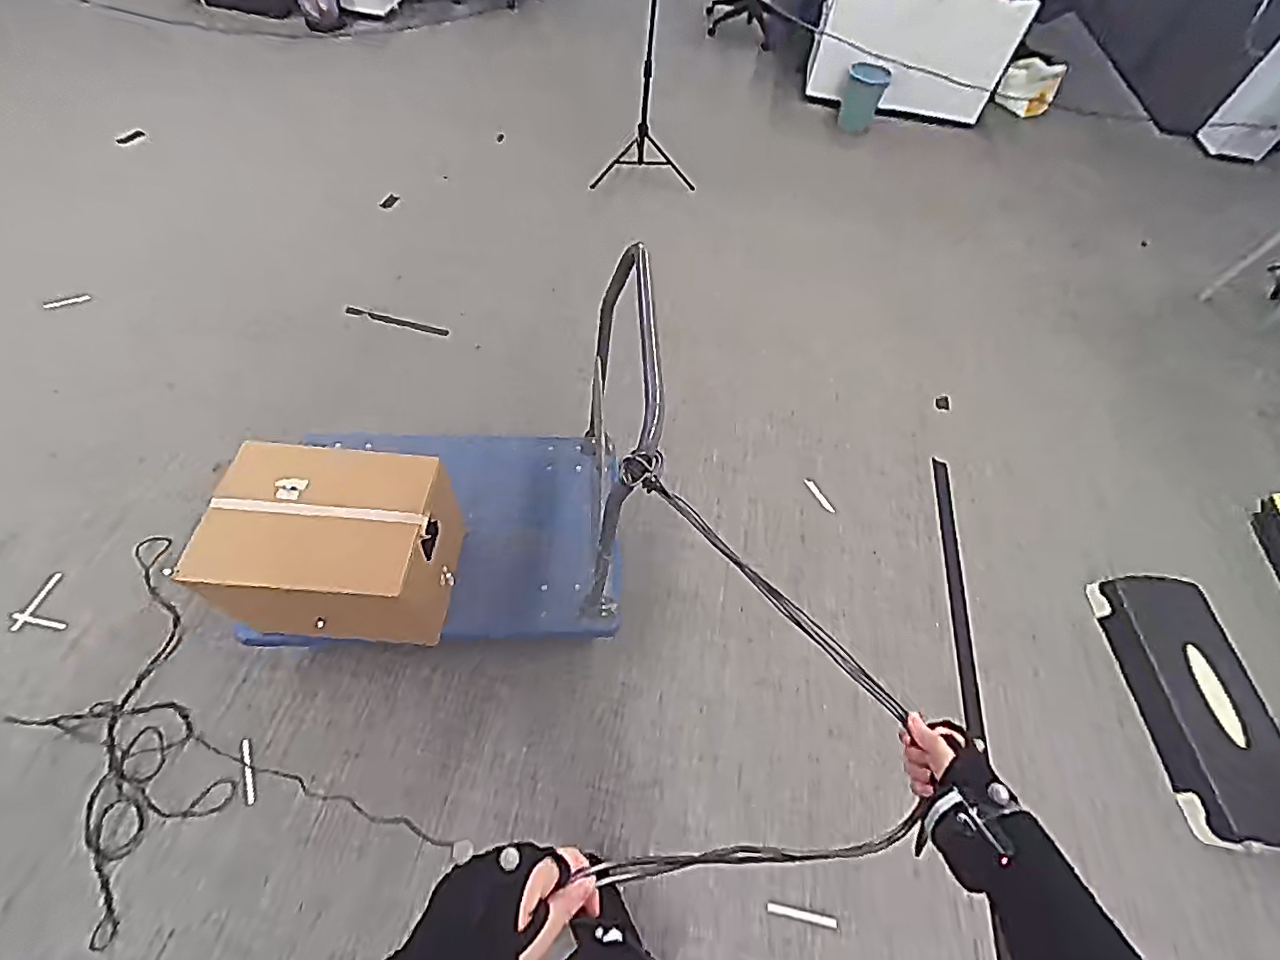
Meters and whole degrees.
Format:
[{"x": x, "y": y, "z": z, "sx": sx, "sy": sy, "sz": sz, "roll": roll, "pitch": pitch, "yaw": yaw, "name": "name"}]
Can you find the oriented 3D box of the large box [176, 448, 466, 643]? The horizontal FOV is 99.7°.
[{"x": -0.631, "y": 0.153, "z": 1.170, "sx": 0.408, "sy": 0.320, "sz": 0.320, "roll": 4, "pitch": 56, "yaw": -2, "name": "large box"}]
